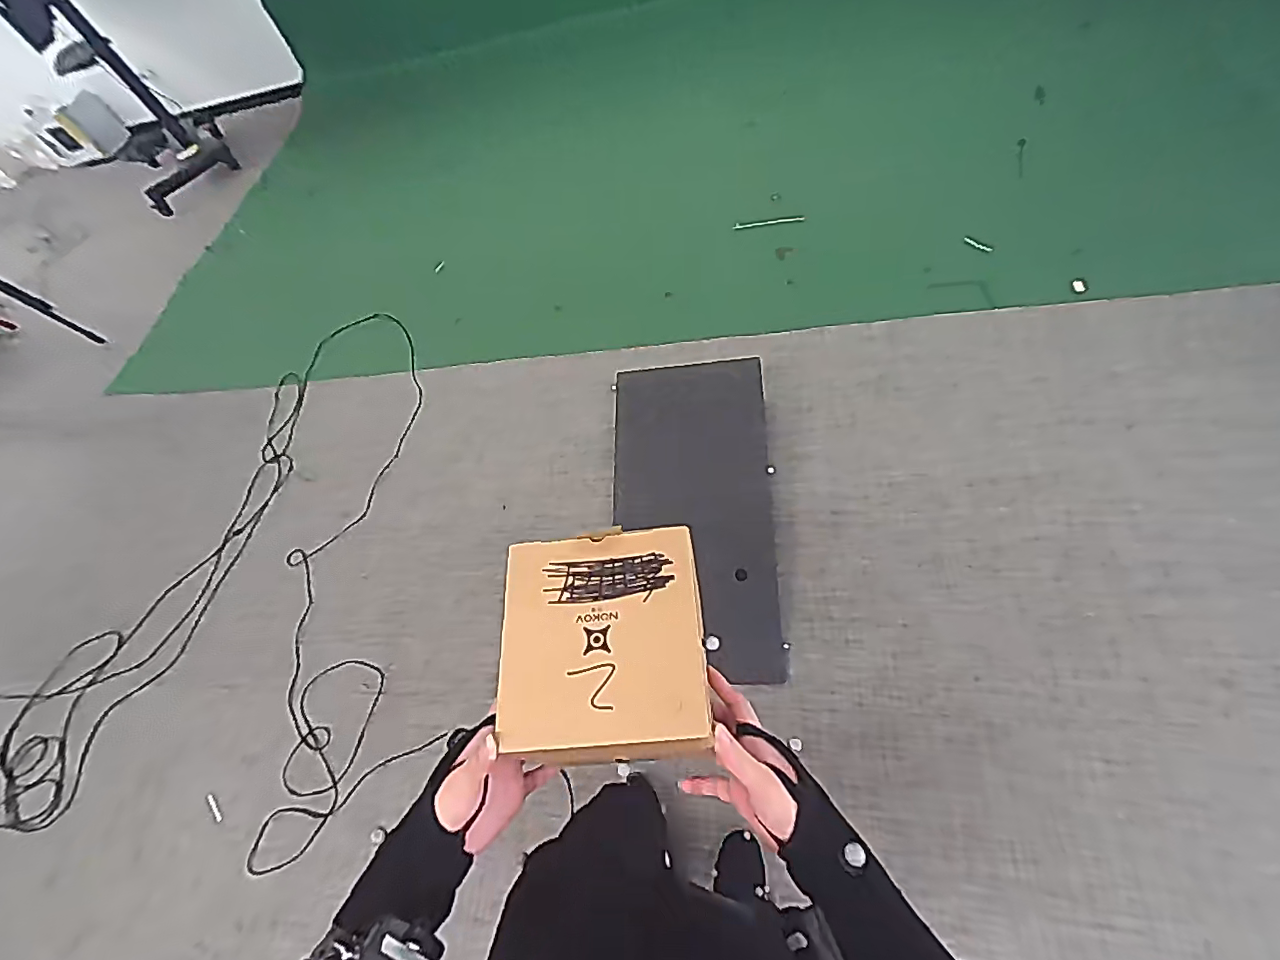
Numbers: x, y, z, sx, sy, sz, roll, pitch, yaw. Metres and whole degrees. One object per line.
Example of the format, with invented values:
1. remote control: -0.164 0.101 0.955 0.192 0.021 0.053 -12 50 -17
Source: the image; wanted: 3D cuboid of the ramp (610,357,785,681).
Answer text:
1. ramp: 0.156 0.083 1.650 0.509 0.206 0.991 -5 60 10
